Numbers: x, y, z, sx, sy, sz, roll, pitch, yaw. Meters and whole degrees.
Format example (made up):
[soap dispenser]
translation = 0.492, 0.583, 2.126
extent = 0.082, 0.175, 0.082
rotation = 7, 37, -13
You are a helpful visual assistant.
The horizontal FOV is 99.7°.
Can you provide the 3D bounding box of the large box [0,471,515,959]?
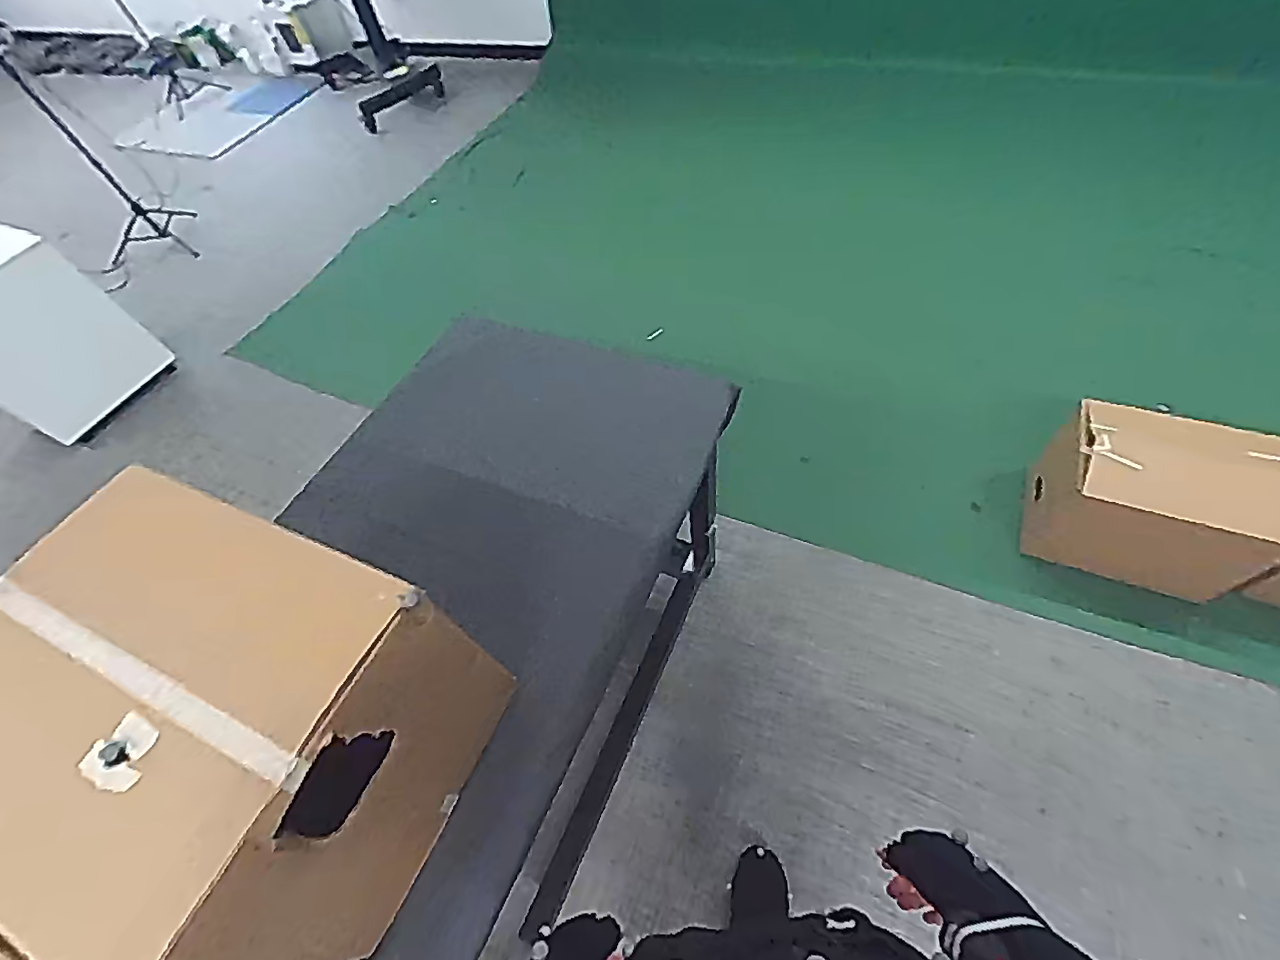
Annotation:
[large box]
translation = -0.417, 0.242, 0.589
extent = 0.408, 0.320, 0.320
rotation = 17, 61, 17
